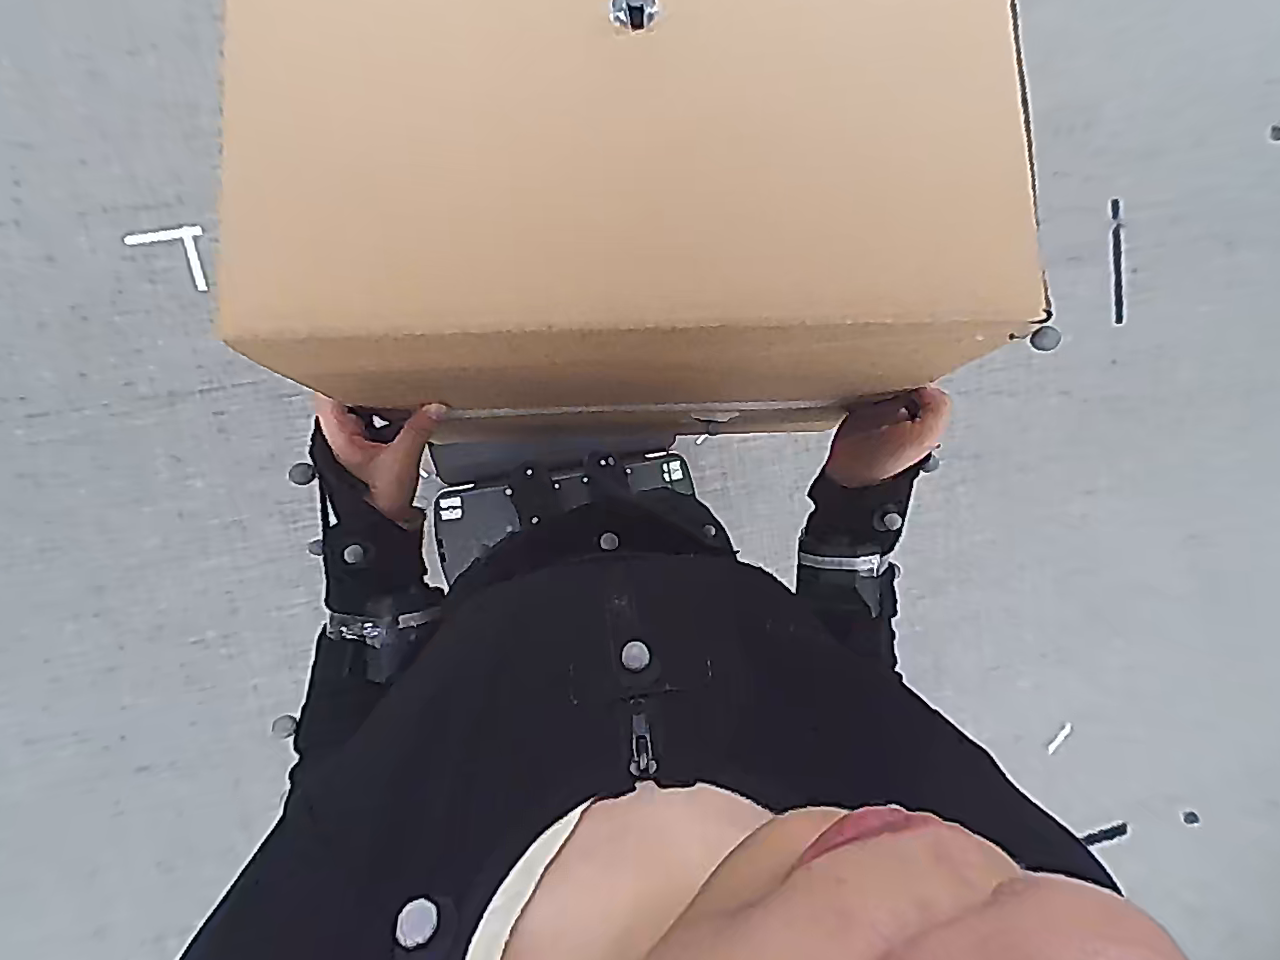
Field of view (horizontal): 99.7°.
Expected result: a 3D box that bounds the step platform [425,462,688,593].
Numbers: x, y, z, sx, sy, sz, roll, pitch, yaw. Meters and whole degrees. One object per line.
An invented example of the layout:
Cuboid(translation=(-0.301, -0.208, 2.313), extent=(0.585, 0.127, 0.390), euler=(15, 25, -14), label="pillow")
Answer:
Cuboid(translation=(-0.212, 0.119, 1.460), extent=(0.684, 0.204, 0.286), euler=(-5, 95, -7), label="step platform")

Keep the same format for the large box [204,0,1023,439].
Cuboid(translation=(-0.023, -0.217, 0.420), extent=(0.408, 0.320, 0.320), euler=(-4, 87, -2), label="large box")
